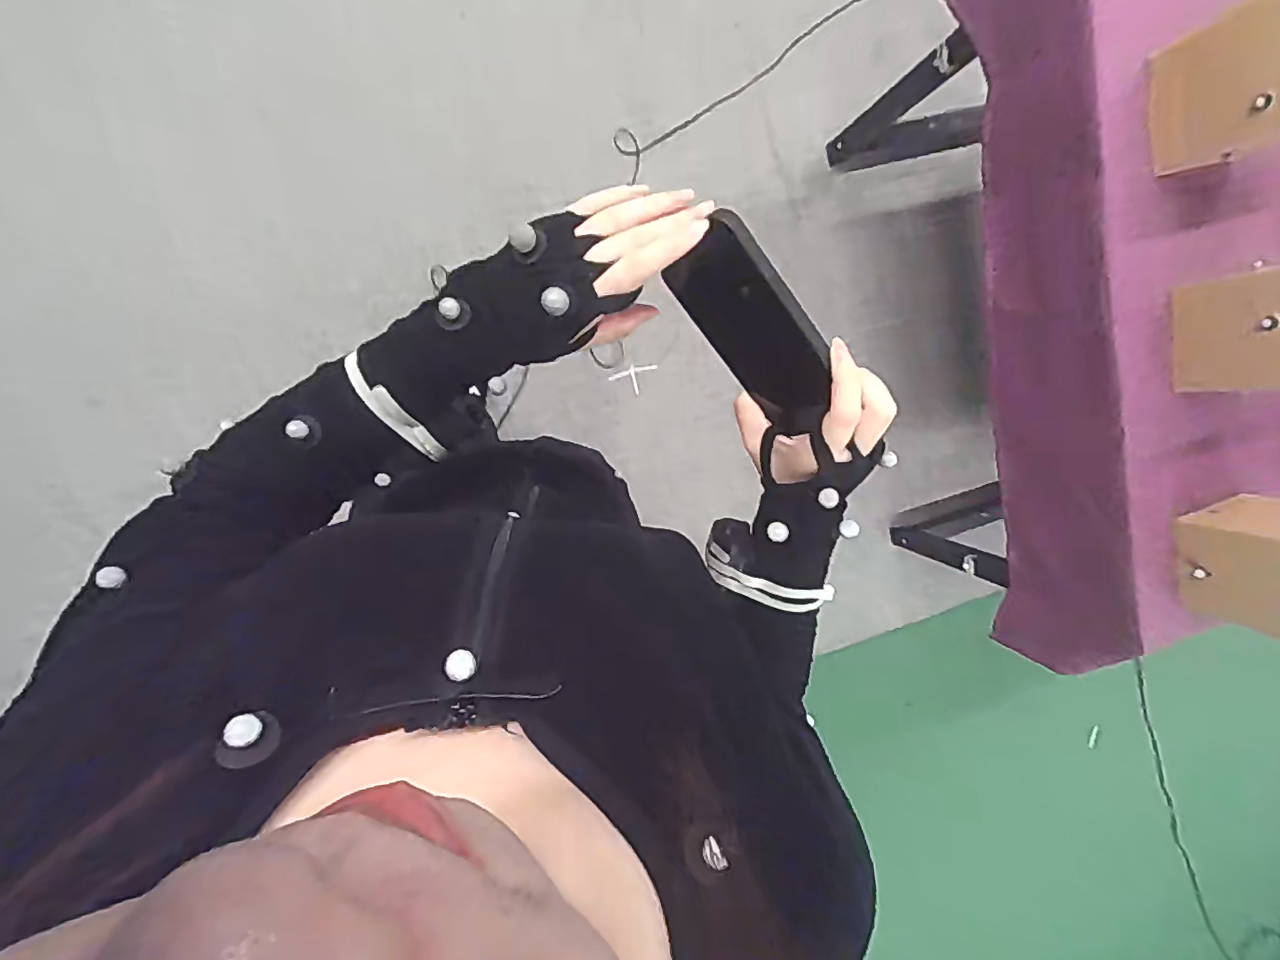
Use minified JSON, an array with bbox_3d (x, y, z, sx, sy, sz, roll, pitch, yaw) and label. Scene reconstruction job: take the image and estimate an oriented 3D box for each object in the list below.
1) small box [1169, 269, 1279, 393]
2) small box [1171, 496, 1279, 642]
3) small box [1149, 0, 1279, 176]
[{"bbox_3d":[0.978,-0.235,0.839,0.168,0.176,0.179,-13,101,-9],"label":"small box"},{"bbox_3d":[1.052,0.142,0.908,0.168,0.176,0.179,-17,101,-9],"label":"small box"},{"bbox_3d":[0.880,-0.567,0.772,0.168,0.176,0.179,-14,102,-9],"label":"small box"}]
